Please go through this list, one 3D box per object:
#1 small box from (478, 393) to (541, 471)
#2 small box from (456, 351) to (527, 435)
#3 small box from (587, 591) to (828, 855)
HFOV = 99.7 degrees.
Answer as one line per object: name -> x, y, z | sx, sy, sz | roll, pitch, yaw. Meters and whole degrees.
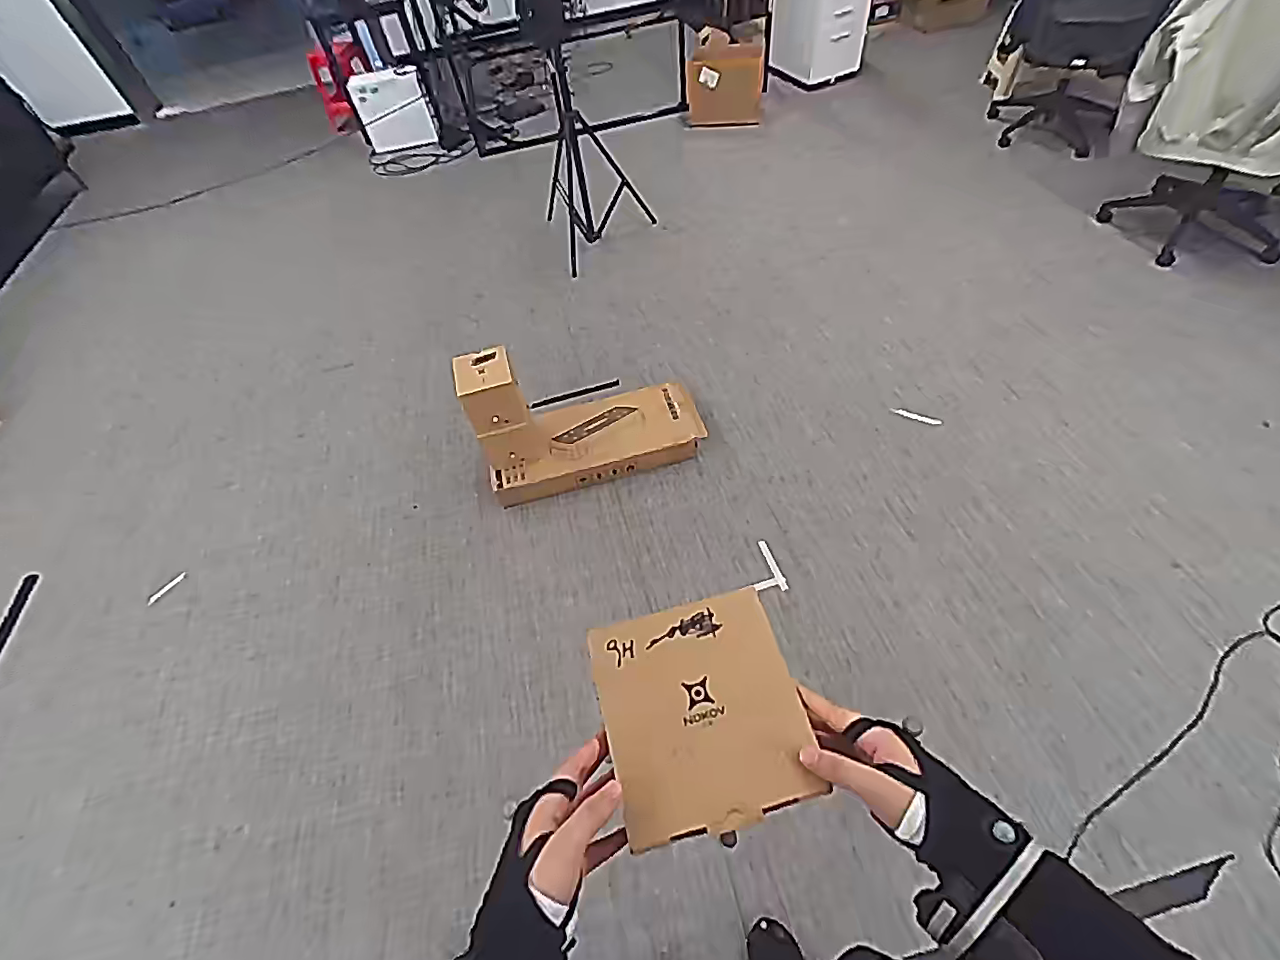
small box -> -0.438, -0.158, 1.805 | 0.168, 0.176, 0.179 | -15, 52, -4
small box -> -0.461, -0.269, 1.685 | 0.168, 0.176, 0.179 | -17, 53, -5
small box -> 0.055, 0.235, 0.526 | 0.168, 0.176, 0.179 | -14, 58, -5
